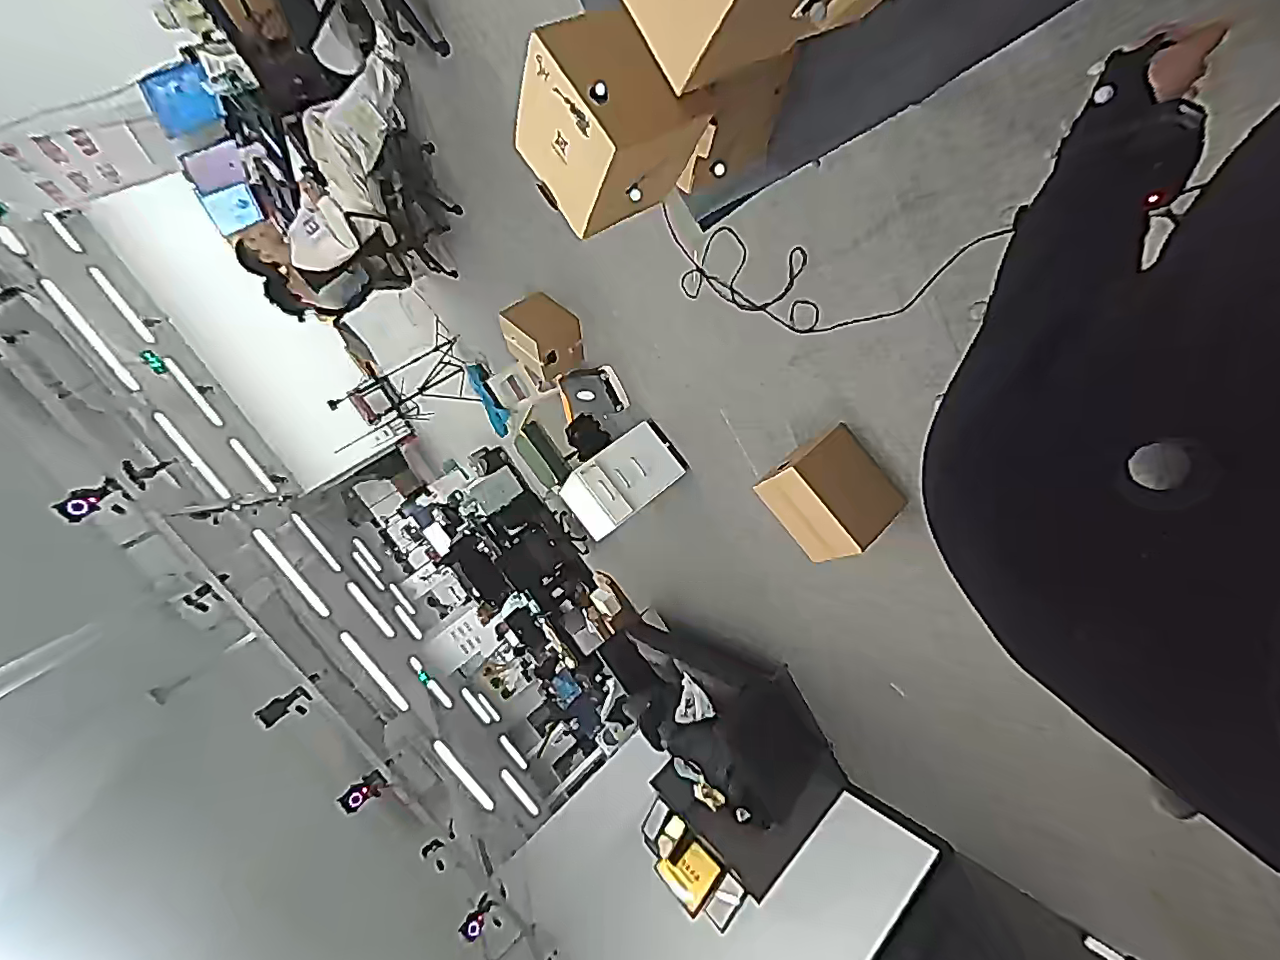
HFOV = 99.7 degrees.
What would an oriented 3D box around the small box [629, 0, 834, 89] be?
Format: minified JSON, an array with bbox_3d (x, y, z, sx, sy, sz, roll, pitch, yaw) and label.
[{"bbox_3d":[0.088,-0.492,0.459,0.179,0.176,0.168,56,159,-7],"label":"small box"}]

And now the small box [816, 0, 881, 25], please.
[{"bbox_3d":[0.207,-0.583,0.523,0.168,0.176,0.179,8,130,62],"label":"small box"}]

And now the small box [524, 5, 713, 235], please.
[{"bbox_3d":[-0.032,-0.473,0.722,0.168,0.176,0.179,54,159,-2],"label":"small box"}]
